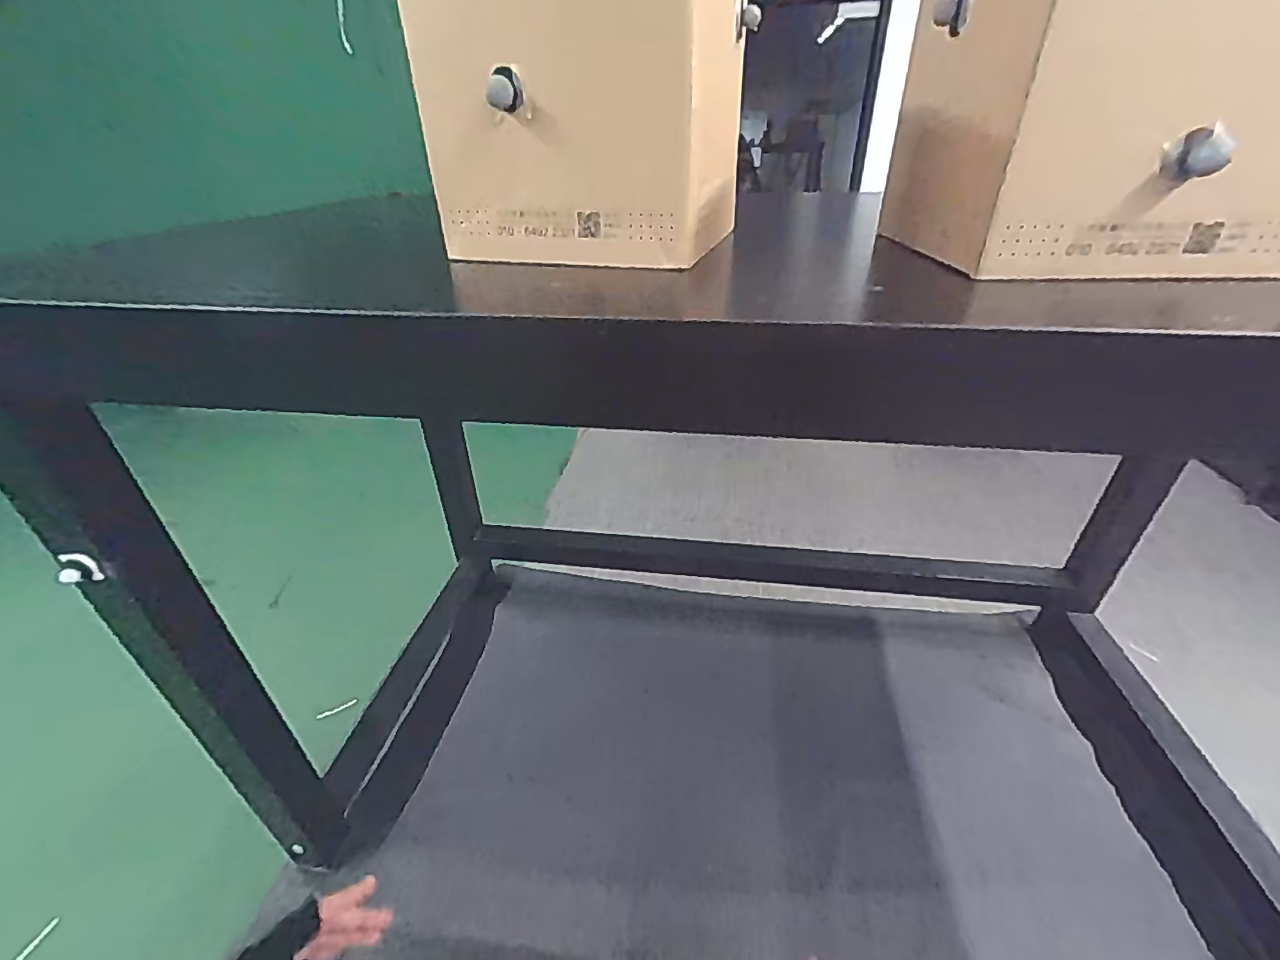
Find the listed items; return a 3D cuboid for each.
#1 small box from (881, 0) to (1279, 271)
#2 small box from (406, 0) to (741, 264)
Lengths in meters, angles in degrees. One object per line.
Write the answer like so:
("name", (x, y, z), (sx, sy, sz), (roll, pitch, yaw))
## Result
("small box", (0.262, -0.227, 0.318), (0.168, 0.176, 0.179), (0, 31, 4))
("small box", (-0.026, -0.252, 0.376), (0.168, 0.176, 0.179), (8, 32, 15))
